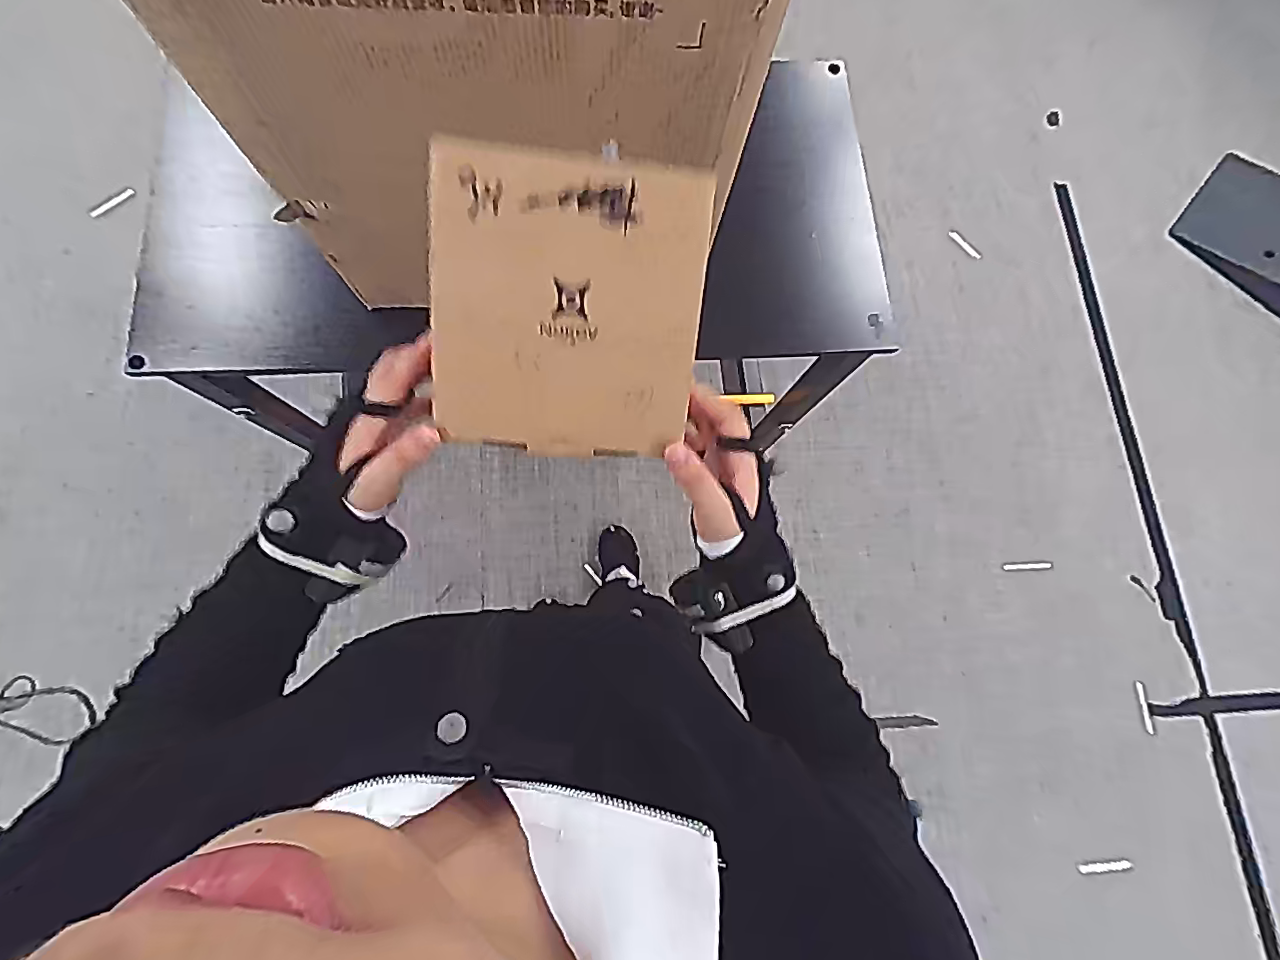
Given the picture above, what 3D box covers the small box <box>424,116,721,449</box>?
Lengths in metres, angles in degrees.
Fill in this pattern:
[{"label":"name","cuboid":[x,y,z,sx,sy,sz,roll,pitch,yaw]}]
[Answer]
[{"label":"small box","cuboid":[-0.049,-0.135,0.398,0.168,0.176,0.179,4,110,-7]}]
